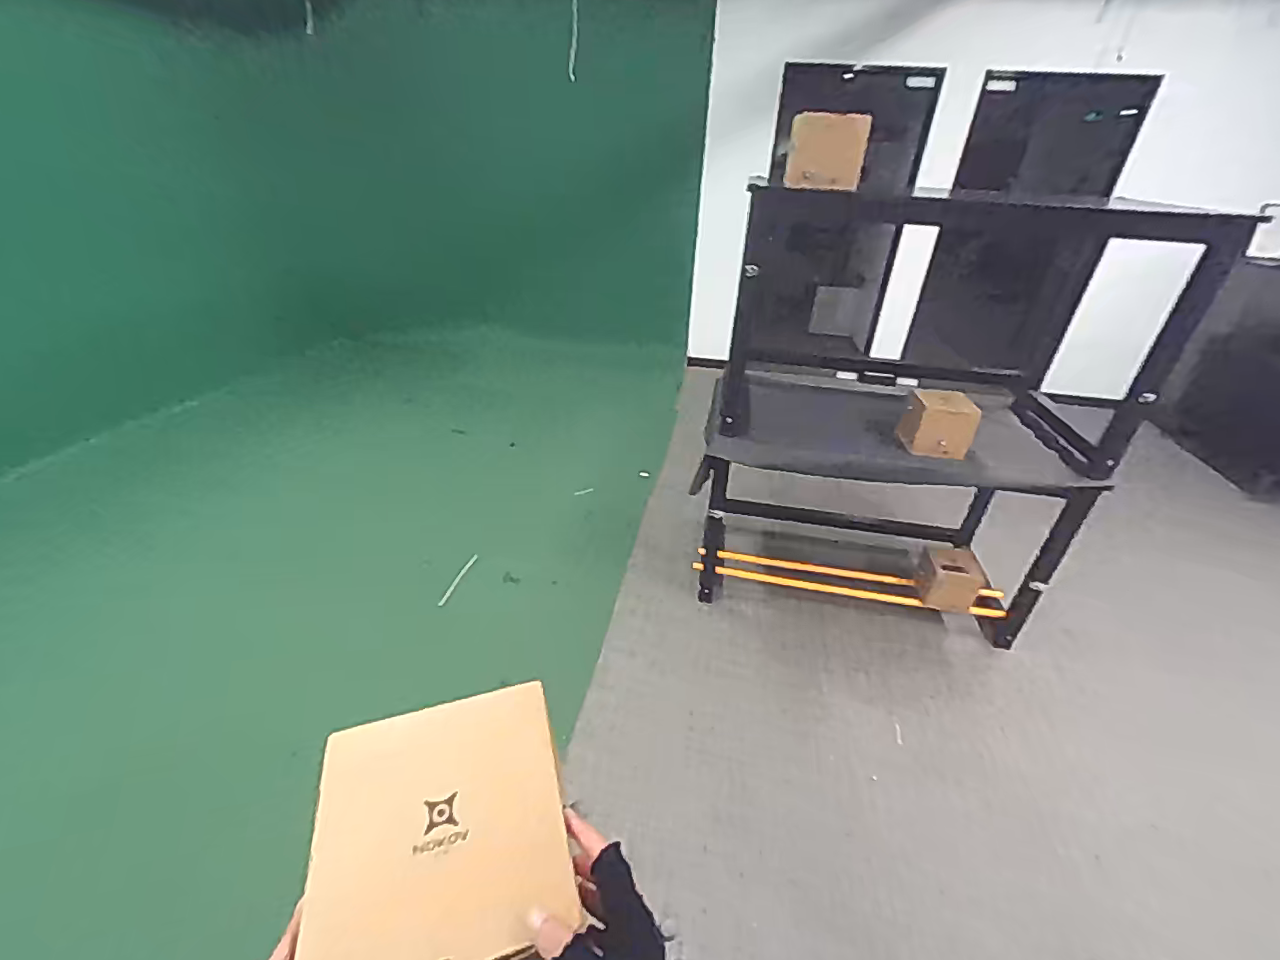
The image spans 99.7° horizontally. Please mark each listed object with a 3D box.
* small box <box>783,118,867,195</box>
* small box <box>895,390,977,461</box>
[{"bbox_3d":[0.495,-0.876,1.469,0.168,0.176,0.179,6,30,3],"label":"small box"},{"bbox_3d":[0.961,-0.182,1.776,0.168,0.176,0.179,6,30,5],"label":"small box"}]
